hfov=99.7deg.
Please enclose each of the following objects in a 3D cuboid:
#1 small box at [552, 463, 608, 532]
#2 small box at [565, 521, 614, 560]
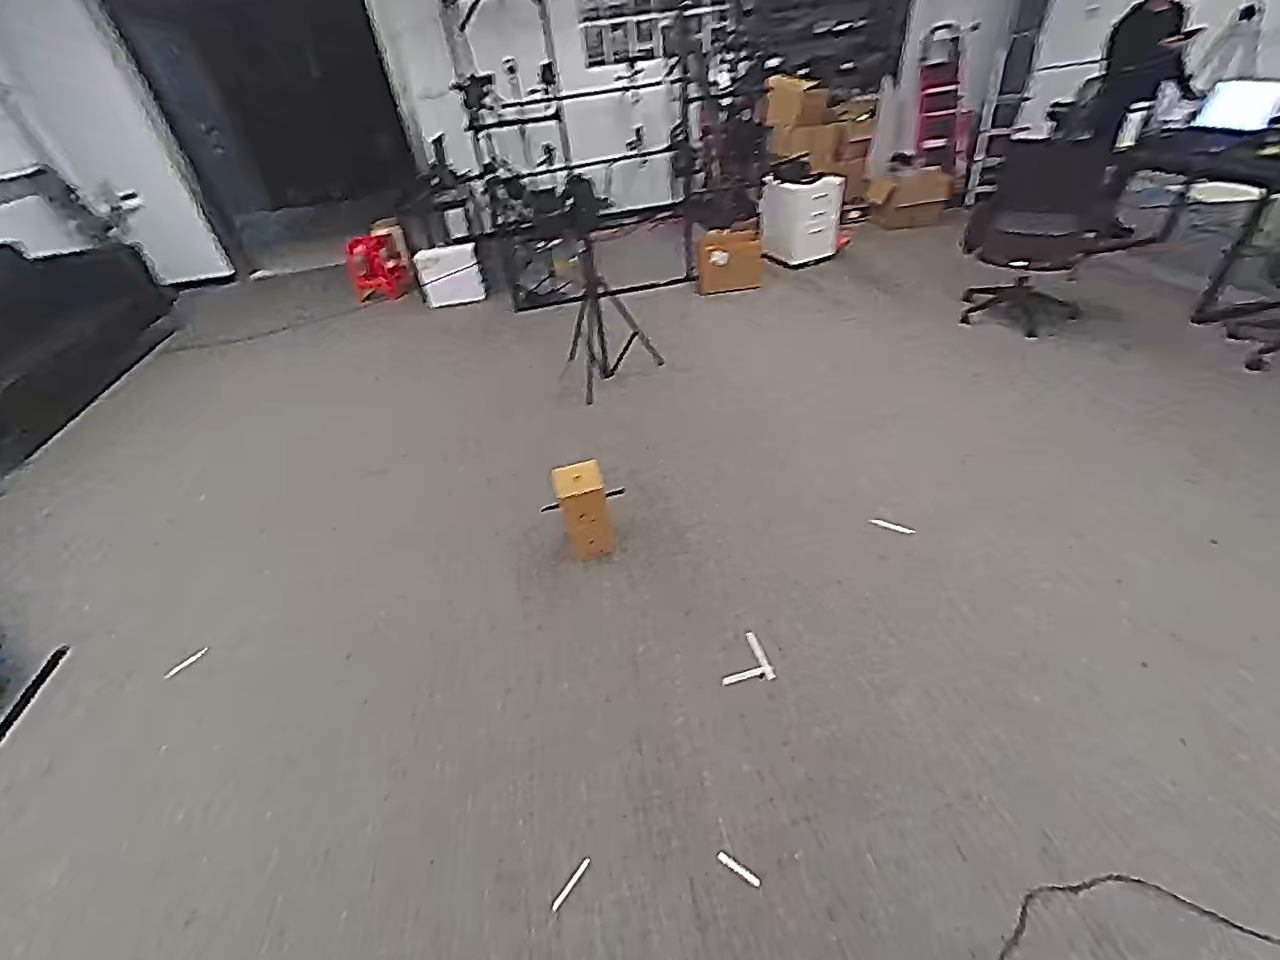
[{"bbox_3d":[-0.224,0.065,2.010,0.168,0.176,0.179,-14,39,-8],"label":"small box"},{"bbox_3d":[-0.206,0.193,2.110,0.168,0.176,0.179,-15,38,-9],"label":"small box"}]
